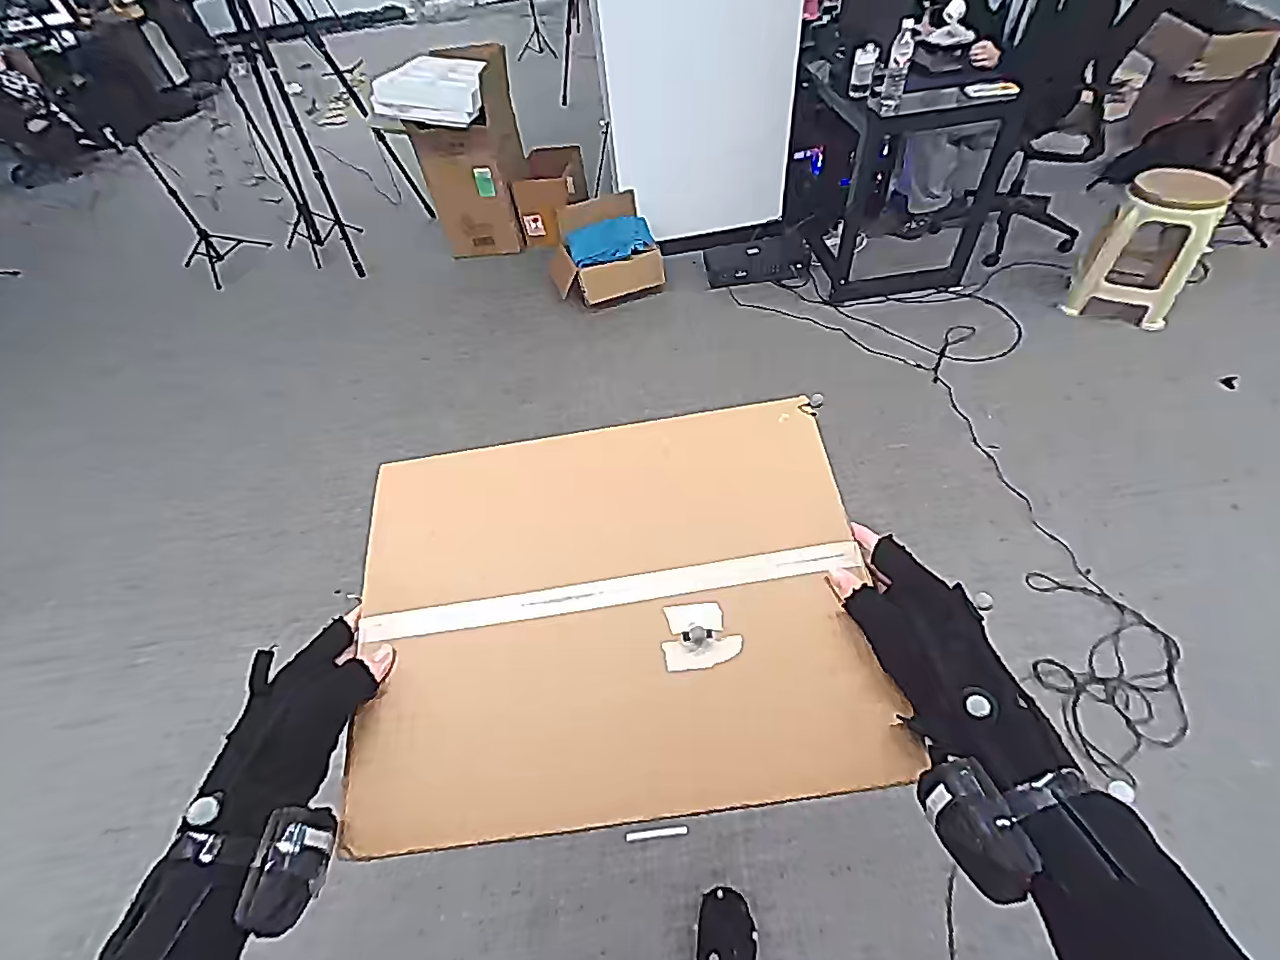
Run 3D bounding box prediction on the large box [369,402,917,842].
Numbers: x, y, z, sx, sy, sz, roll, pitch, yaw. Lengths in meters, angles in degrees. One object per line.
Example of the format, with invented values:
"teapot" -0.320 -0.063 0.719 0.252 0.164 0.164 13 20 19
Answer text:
"large box" -0.007 0.160 0.581 0.408 0.320 0.320 -9 62 1
